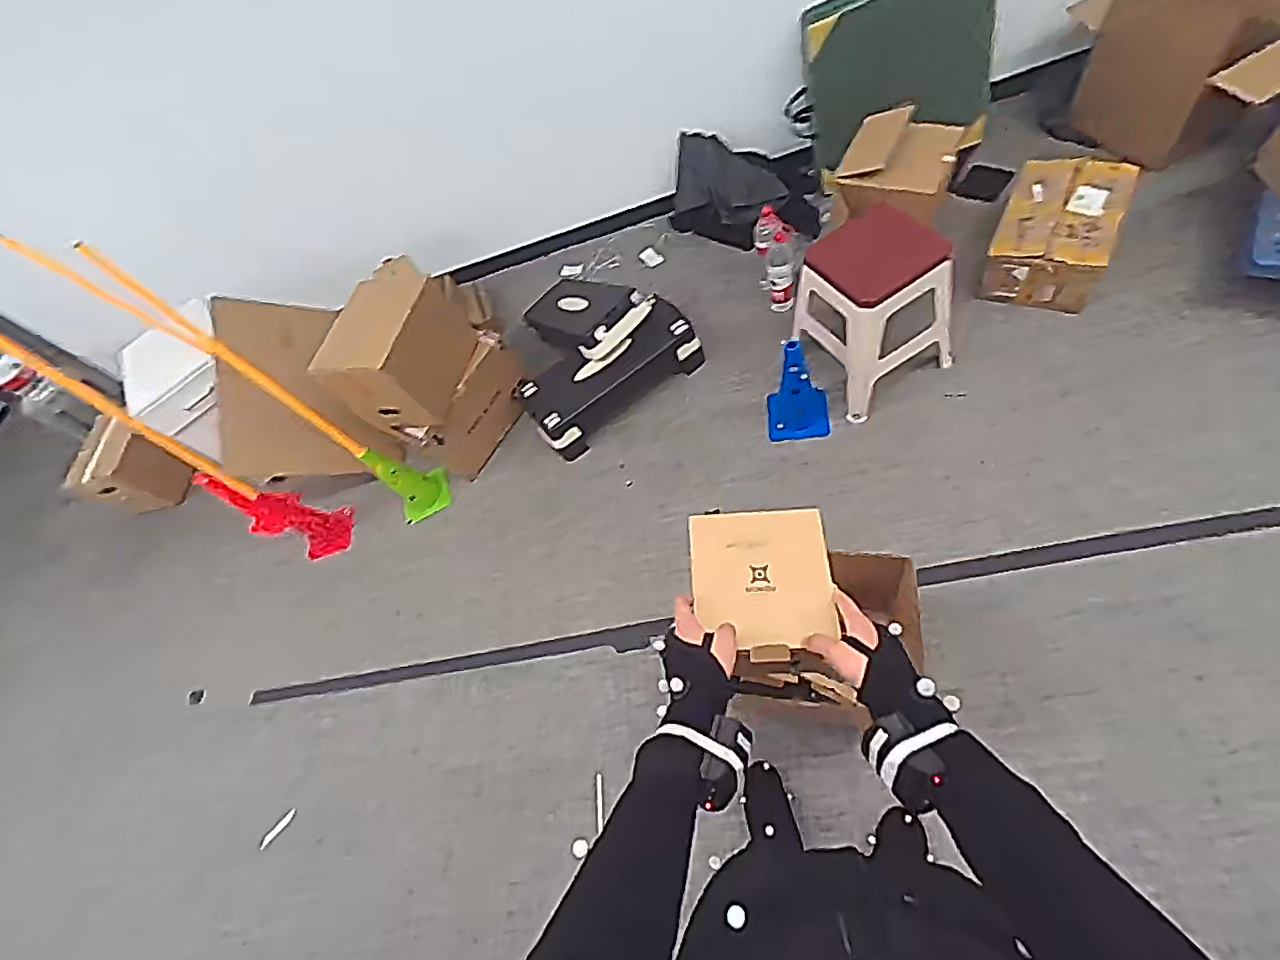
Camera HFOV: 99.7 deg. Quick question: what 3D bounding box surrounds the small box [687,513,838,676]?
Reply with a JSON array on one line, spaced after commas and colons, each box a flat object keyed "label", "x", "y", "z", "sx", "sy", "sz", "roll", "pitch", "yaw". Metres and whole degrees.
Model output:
[{"label": "small box", "x": 0.152, "y": 0.160, "z": 0.716, "sx": 0.168, "sy": 0.176, "sz": 0.179, "roll": -4, "pitch": 61, "yaw": 7}]
